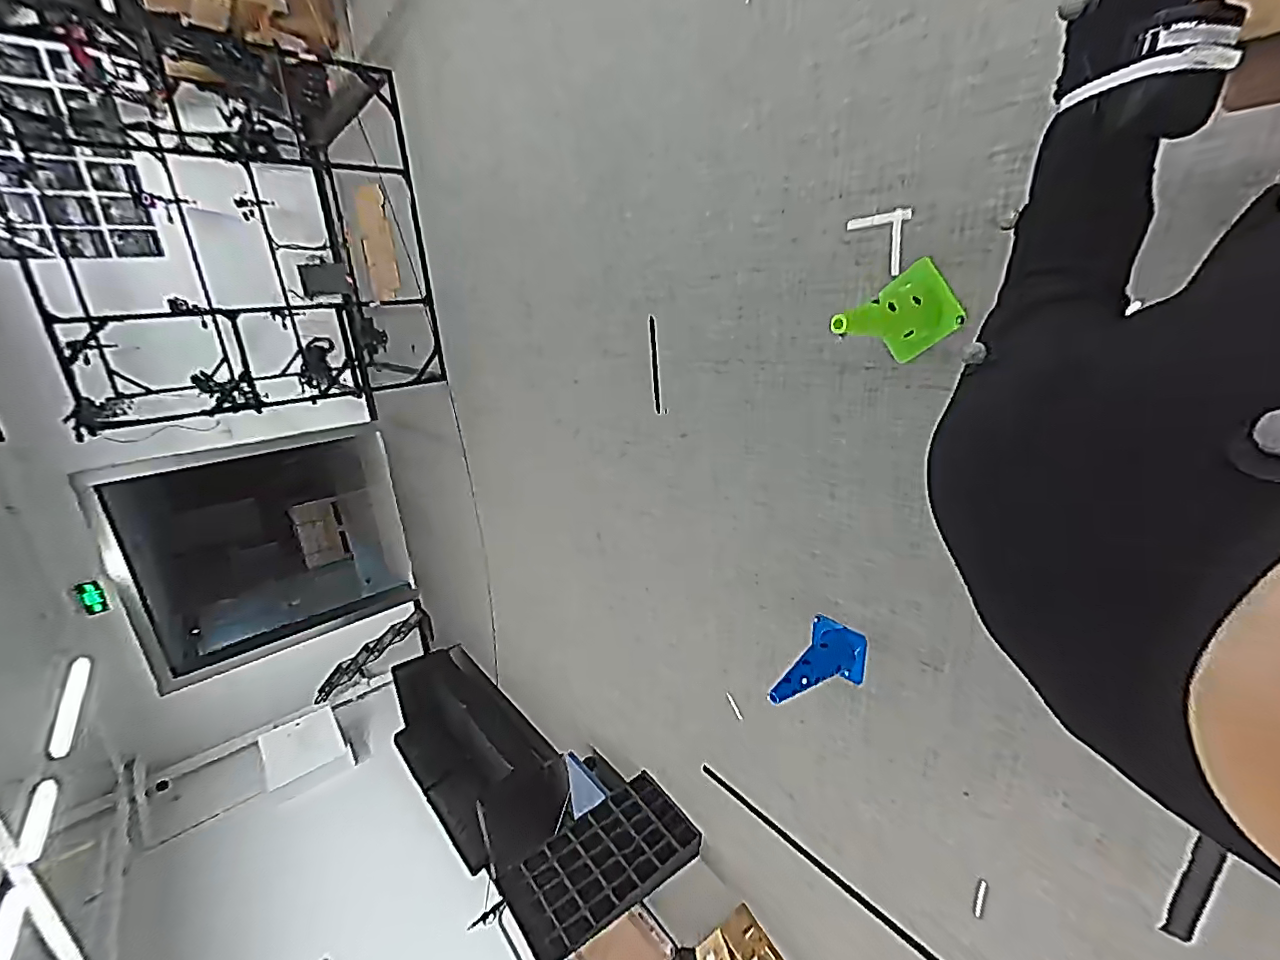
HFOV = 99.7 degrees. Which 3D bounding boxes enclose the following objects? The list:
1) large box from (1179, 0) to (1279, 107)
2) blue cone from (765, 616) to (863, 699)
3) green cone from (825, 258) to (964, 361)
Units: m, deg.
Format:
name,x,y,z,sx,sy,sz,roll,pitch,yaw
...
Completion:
name,x,y,z,sx,sy,sz,roll,pitch,yaw
large box,0.581,-0.438,0.259,0.408,0.320,0.320,15,119,47
blue cone,0.559,0.626,1.795,0.192,0.380,0.193,24,122,47
green cone,0.573,-0.395,1.307,0.202,0.368,0.200,-42,70,53
